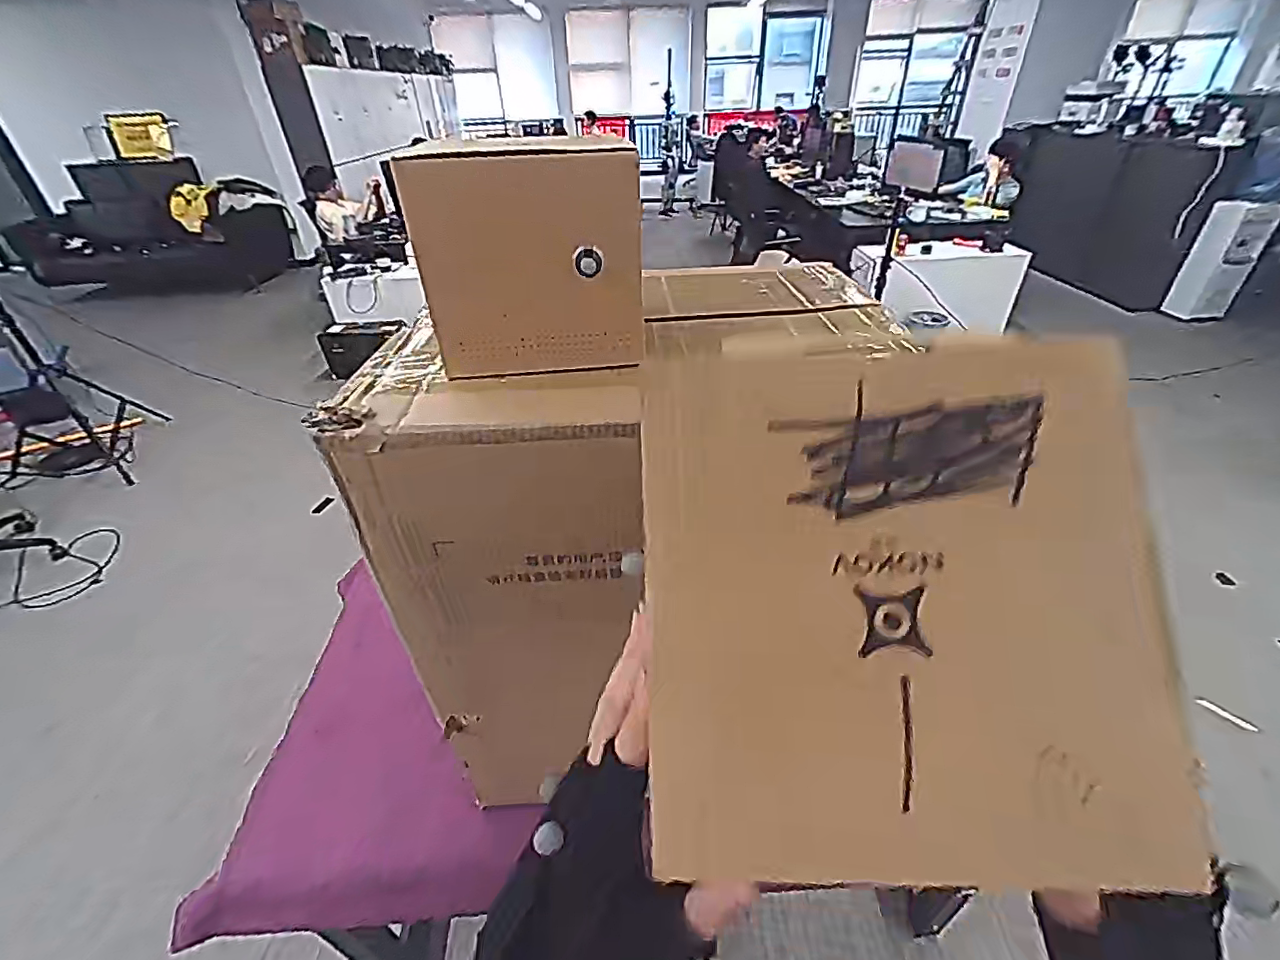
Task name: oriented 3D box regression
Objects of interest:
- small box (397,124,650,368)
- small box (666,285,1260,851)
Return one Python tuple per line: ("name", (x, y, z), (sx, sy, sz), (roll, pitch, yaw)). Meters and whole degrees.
("small box", (-0.087, -0.212, 0.484), (0.179, 0.176, 0.168), (-7, 35, -5))
("small box", (0.096, 0.036, 0.250), (0.168, 0.176, 0.179), (-2, 79, 5))
